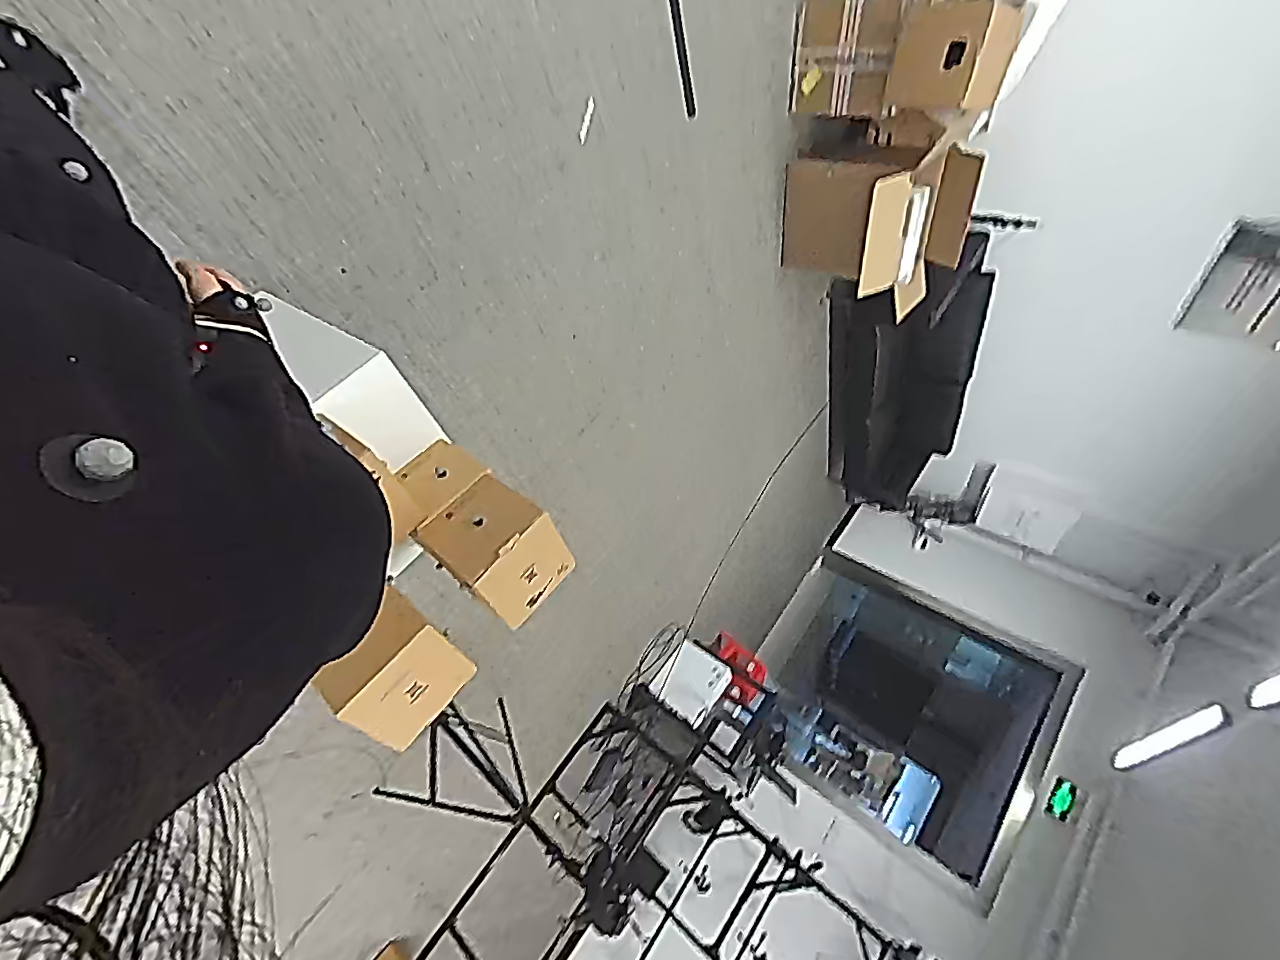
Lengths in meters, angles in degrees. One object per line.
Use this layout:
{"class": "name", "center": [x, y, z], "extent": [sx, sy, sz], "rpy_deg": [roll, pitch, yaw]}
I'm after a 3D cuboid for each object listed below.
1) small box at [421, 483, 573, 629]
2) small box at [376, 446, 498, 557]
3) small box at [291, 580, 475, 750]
{"class": "small box", "center": [-0.254, 0.127, 0.966], "extent": [0.168, 0.176, 0.179], "rpy_deg": [-46, 143, -25]}
{"class": "small box", "center": [-0.374, 0.054, 1.054], "extent": [0.168, 0.176, 0.179], "rpy_deg": [-45, 143, -25]}
{"class": "small box", "center": [-0.407, 0.290, 0.868], "extent": [0.168, 0.176, 0.179], "rpy_deg": [-48, 143, -24]}
